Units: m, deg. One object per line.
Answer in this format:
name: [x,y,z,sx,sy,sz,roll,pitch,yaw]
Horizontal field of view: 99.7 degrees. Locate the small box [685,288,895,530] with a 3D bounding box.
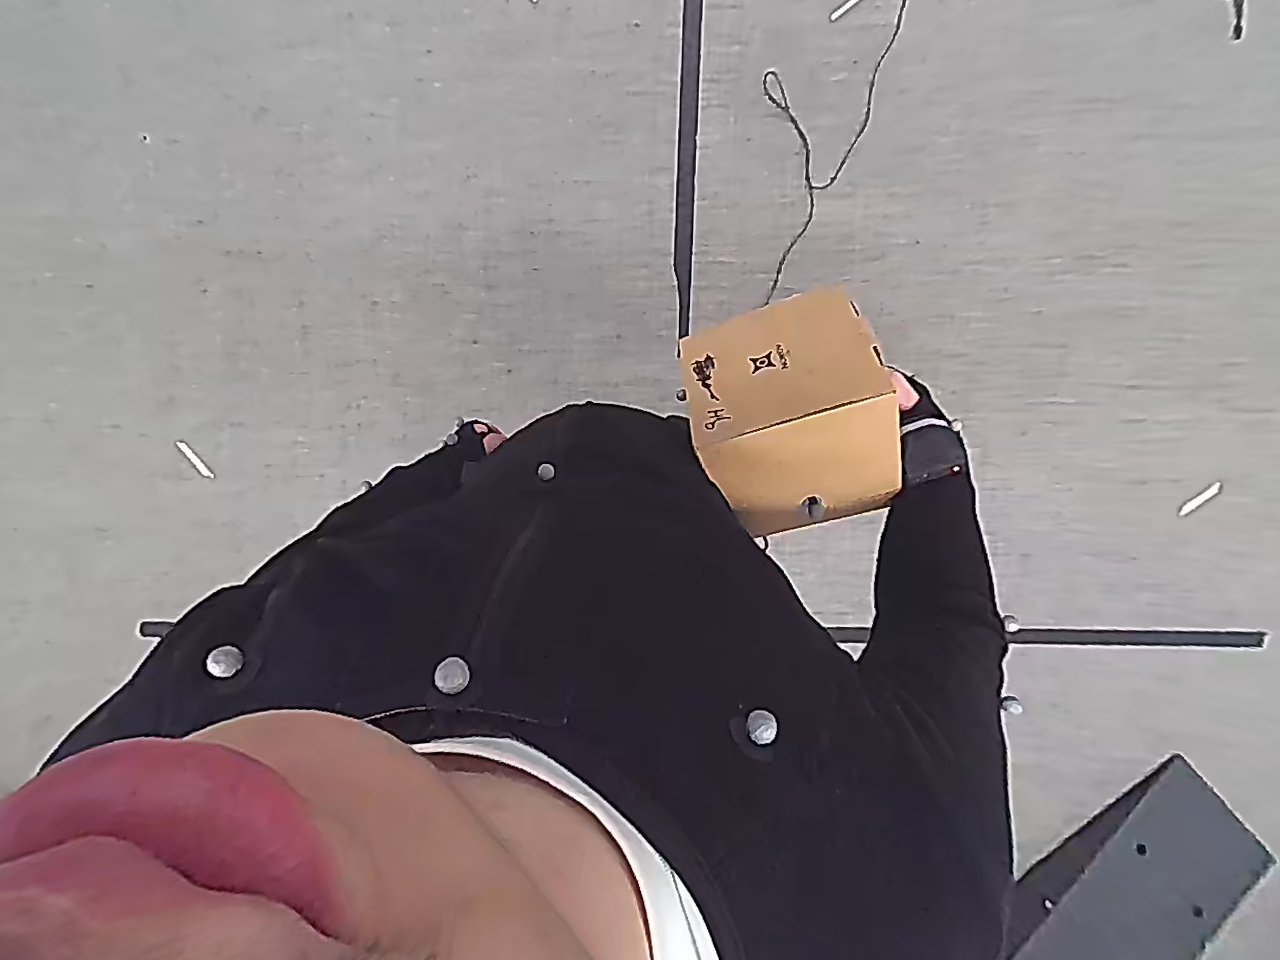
small box: [0.161,-0.069,0.588,0.179,0.168,0.176,-16,138,15]
